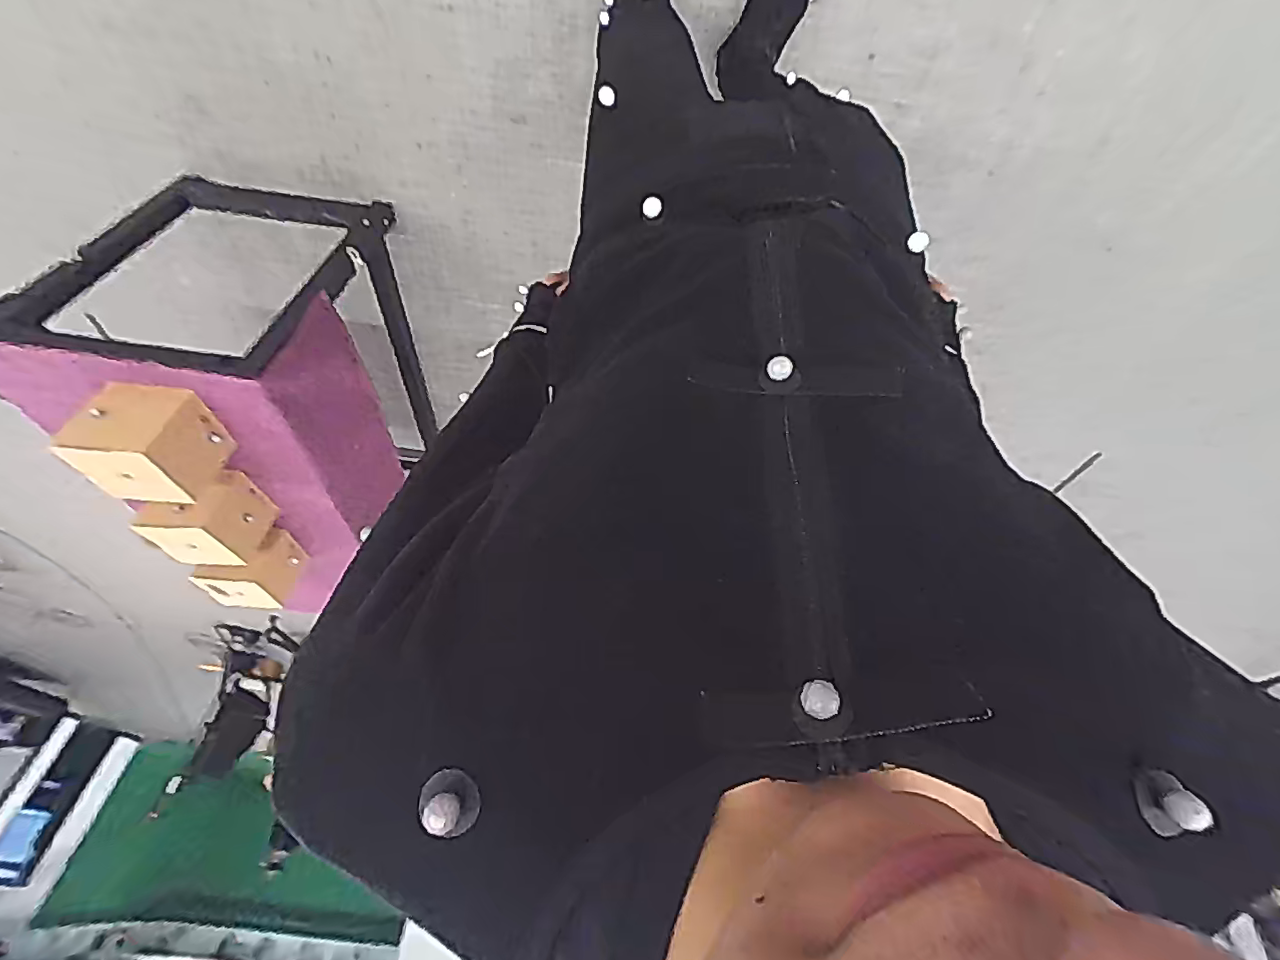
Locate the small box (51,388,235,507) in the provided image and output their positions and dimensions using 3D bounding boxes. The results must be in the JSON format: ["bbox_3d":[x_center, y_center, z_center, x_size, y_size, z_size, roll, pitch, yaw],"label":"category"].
[{"bbox_3d":[-0.979,-0.067,1.087,0.179,0.176,0.168,6,143,1],"label":"small box"}]

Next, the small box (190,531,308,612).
[{"bbox_3d":[-1.071,0.247,1.499,0.179,0.176,0.168,5,142,1],"label":"small box"}]

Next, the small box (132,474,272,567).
[{"bbox_3d":[-1.031,0.095,1.299,0.179,0.176,0.168,2,141,5],"label":"small box"}]
